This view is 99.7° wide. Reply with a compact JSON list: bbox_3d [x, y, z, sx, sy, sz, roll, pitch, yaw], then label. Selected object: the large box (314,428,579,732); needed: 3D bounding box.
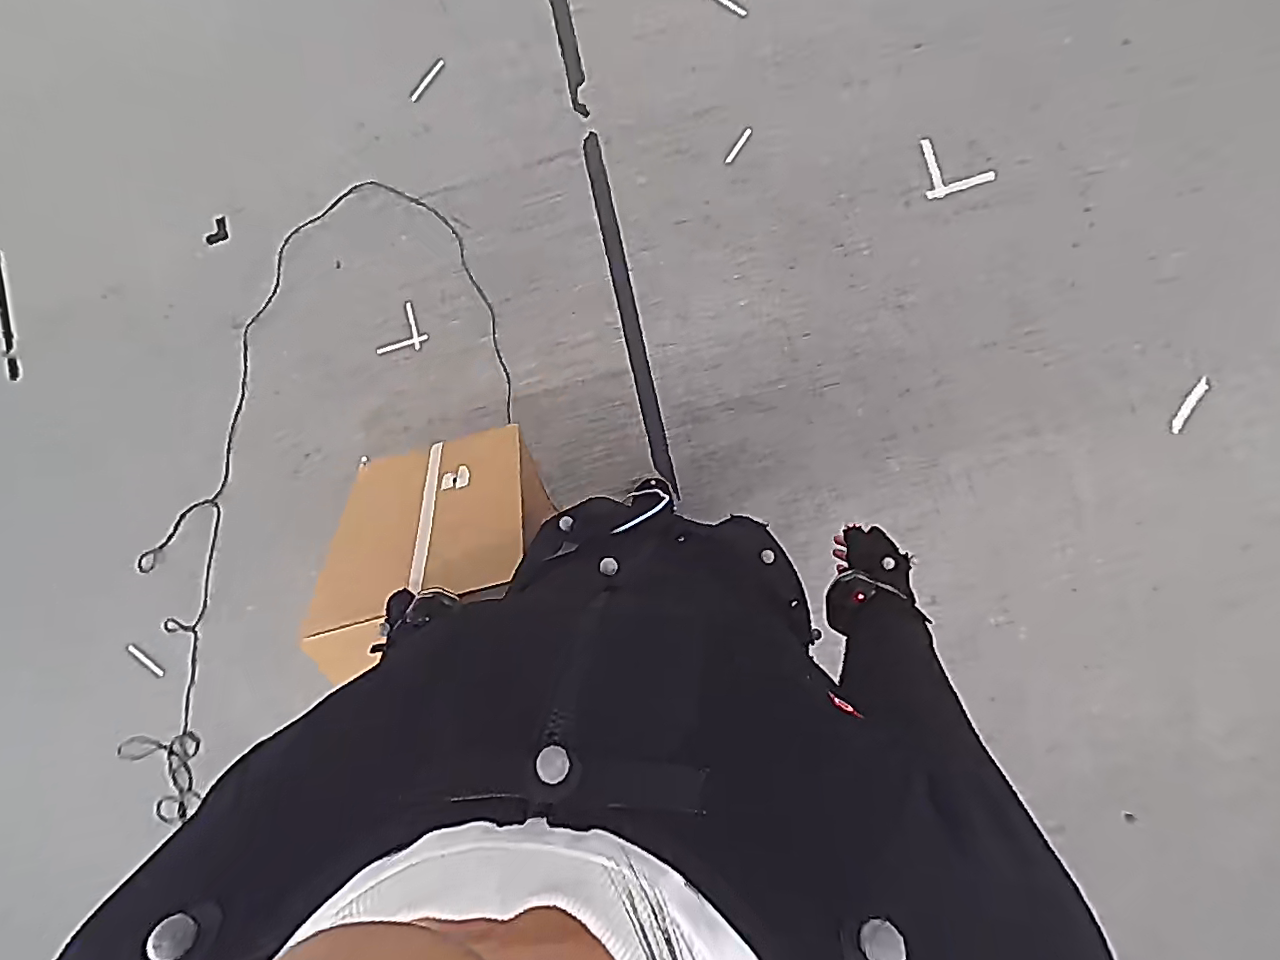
[{"bbox_3d":[-0.316,0.168,0.993,0.320,0.408,0.320,-15,129,-2],"label":"large box"}]
